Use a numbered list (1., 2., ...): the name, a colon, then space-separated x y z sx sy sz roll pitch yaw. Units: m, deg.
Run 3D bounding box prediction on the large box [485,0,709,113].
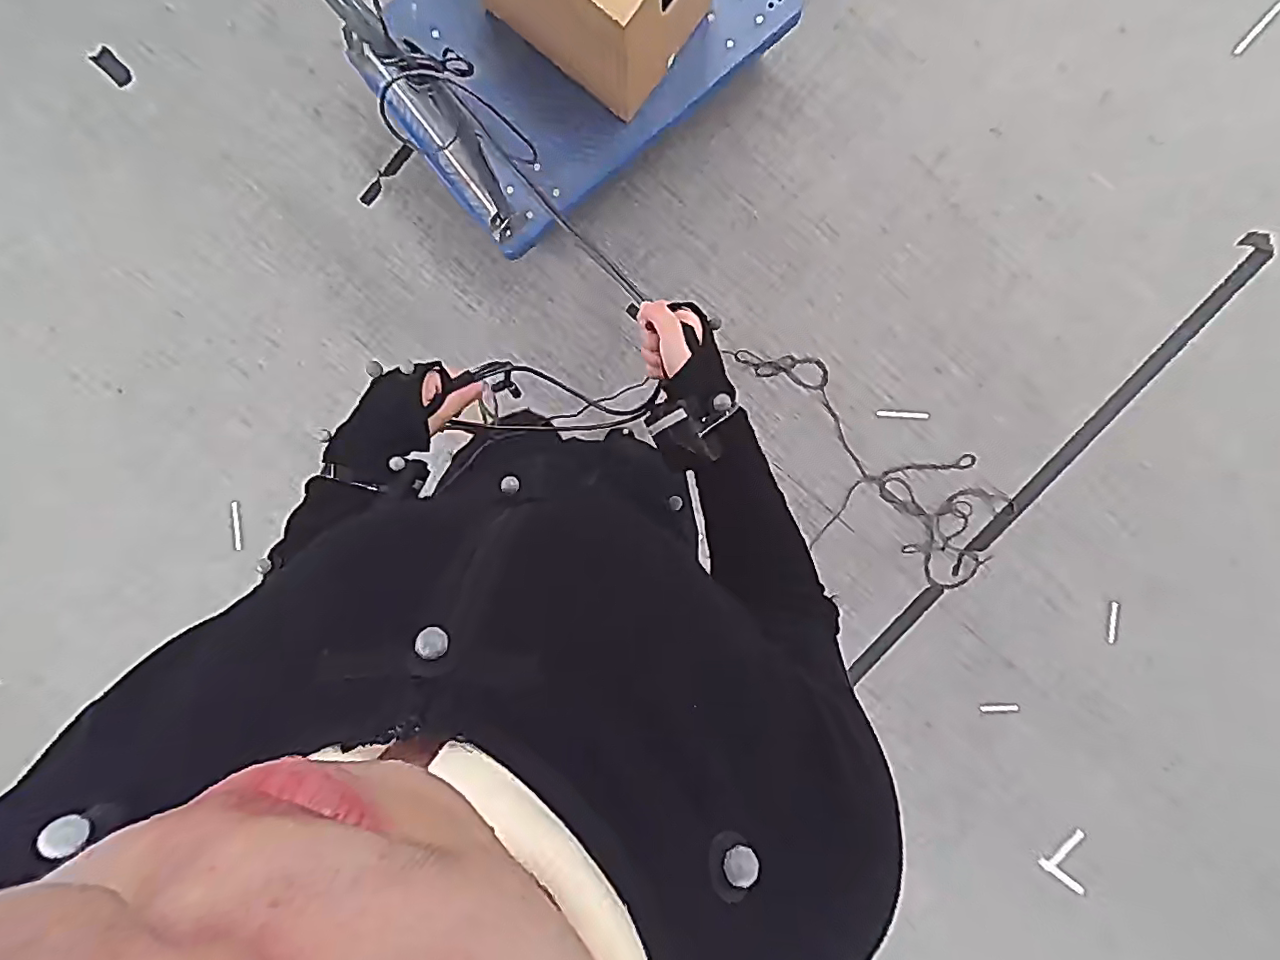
1. large box: -0.092 -1.026 1.025 0.408 0.320 0.320 36 97 -5
